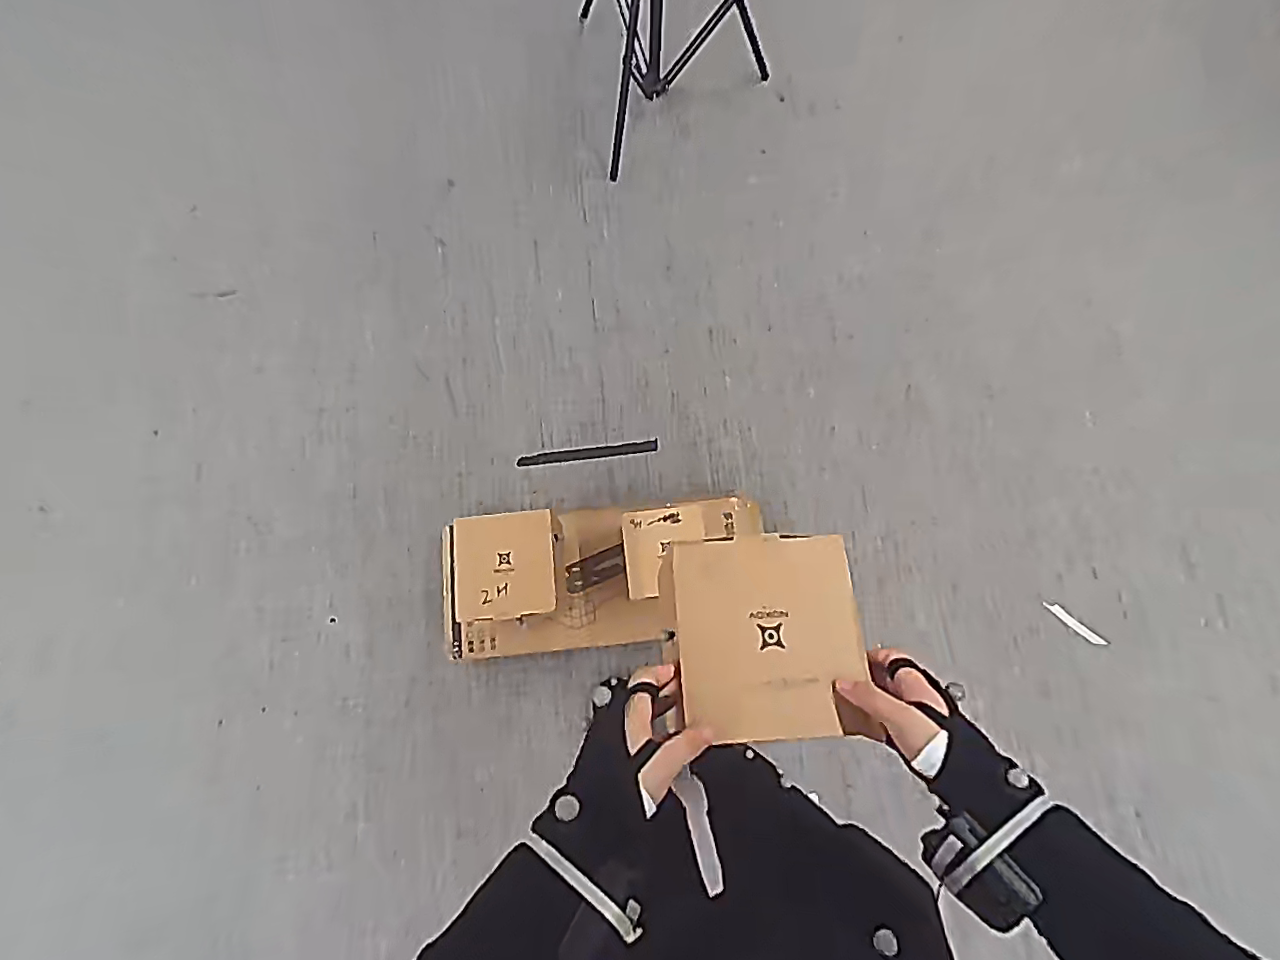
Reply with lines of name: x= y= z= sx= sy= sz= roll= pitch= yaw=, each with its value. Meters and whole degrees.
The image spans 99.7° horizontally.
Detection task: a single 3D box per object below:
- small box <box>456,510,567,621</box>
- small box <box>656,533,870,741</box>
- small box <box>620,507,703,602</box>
small box: x=-0.227 y=0.159 z=0.982 sx=0.168 sy=0.176 sz=0.179 roll=-5 pitch=77 yaw=-2
small box: x=0.107 y=0.163 z=0.560 sx=0.168 sy=0.176 sz=0.179 roll=-3 pitch=70 yaw=-3
small box: x=0.051 y=0.162 z=1.154 sx=0.168 sy=0.176 sz=0.179 roll=-6 pitch=78 yaw=0
